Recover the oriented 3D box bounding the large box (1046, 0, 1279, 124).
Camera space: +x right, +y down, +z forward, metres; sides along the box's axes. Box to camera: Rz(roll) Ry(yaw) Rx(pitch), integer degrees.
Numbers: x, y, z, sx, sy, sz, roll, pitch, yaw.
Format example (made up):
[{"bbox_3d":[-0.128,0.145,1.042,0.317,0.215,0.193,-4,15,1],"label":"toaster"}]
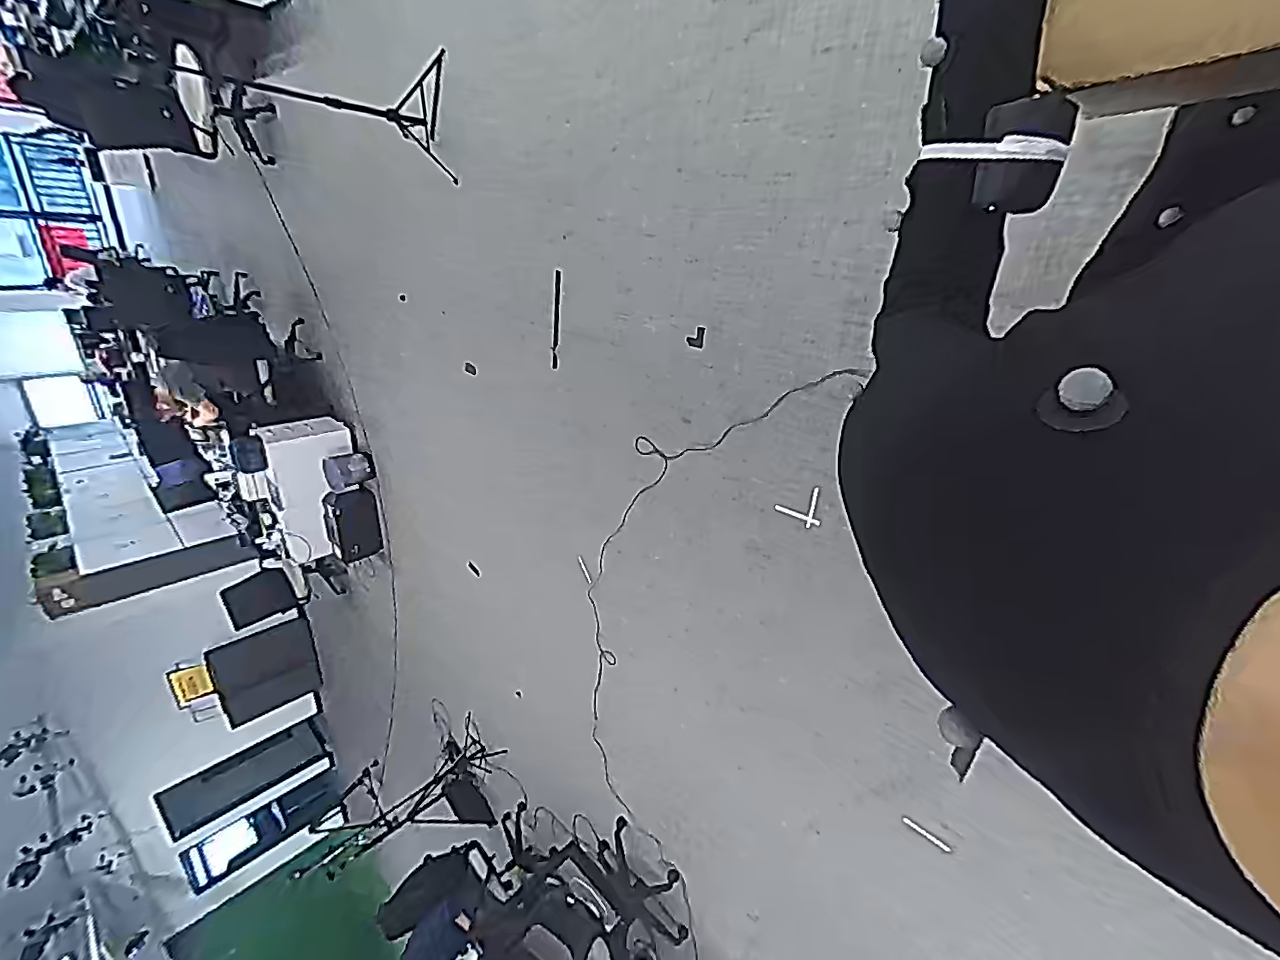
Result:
[{"bbox_3d":[0.497,-0.420,0.283,0.408,0.320,0.320,13,122,38],"label":"large box"}]
